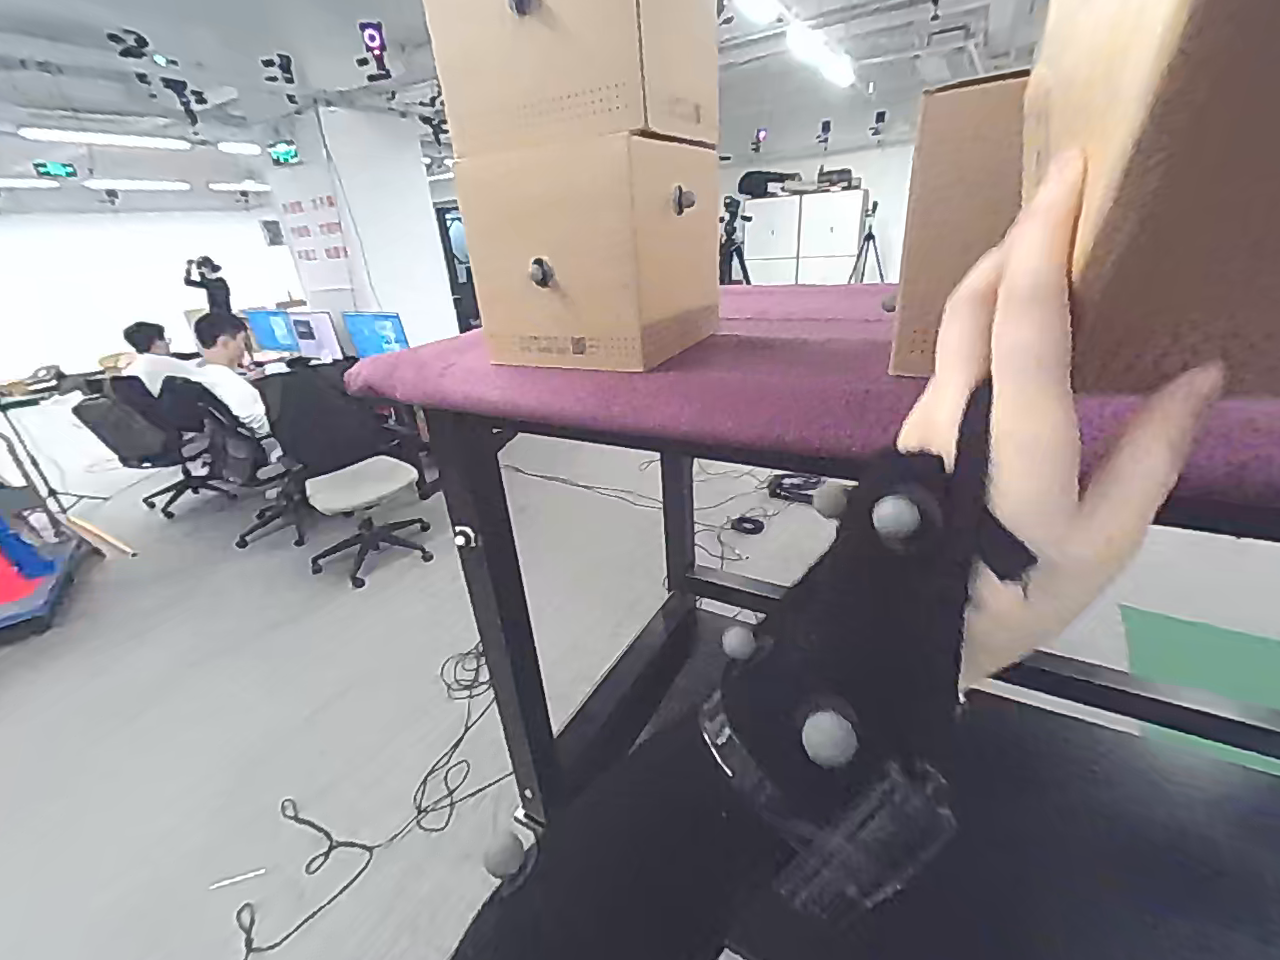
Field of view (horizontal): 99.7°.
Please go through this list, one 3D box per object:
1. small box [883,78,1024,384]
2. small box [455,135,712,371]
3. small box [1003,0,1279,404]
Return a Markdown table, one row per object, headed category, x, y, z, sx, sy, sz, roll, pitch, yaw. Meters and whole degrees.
| category | x | y | z | sx | sy | sz | roll | pitch | yaw |
| --- | --- | --- | --- | --- | --- | --- | --- | --- | --- |
| small box | 0.277 | -0.164 | 0.368 | 0.179 | 0.176 | 0.168 | 8 | 27 | 27 |
| small box | -0.036 | -0.205 | 0.504 | 0.168 | 0.176 | 0.179 | 10 | 28 | 26 |
| small box | 0.203 | -0.127 | 0.126 | 0.179 | 0.176 | 0.168 | 7 | 66 | 25 |
